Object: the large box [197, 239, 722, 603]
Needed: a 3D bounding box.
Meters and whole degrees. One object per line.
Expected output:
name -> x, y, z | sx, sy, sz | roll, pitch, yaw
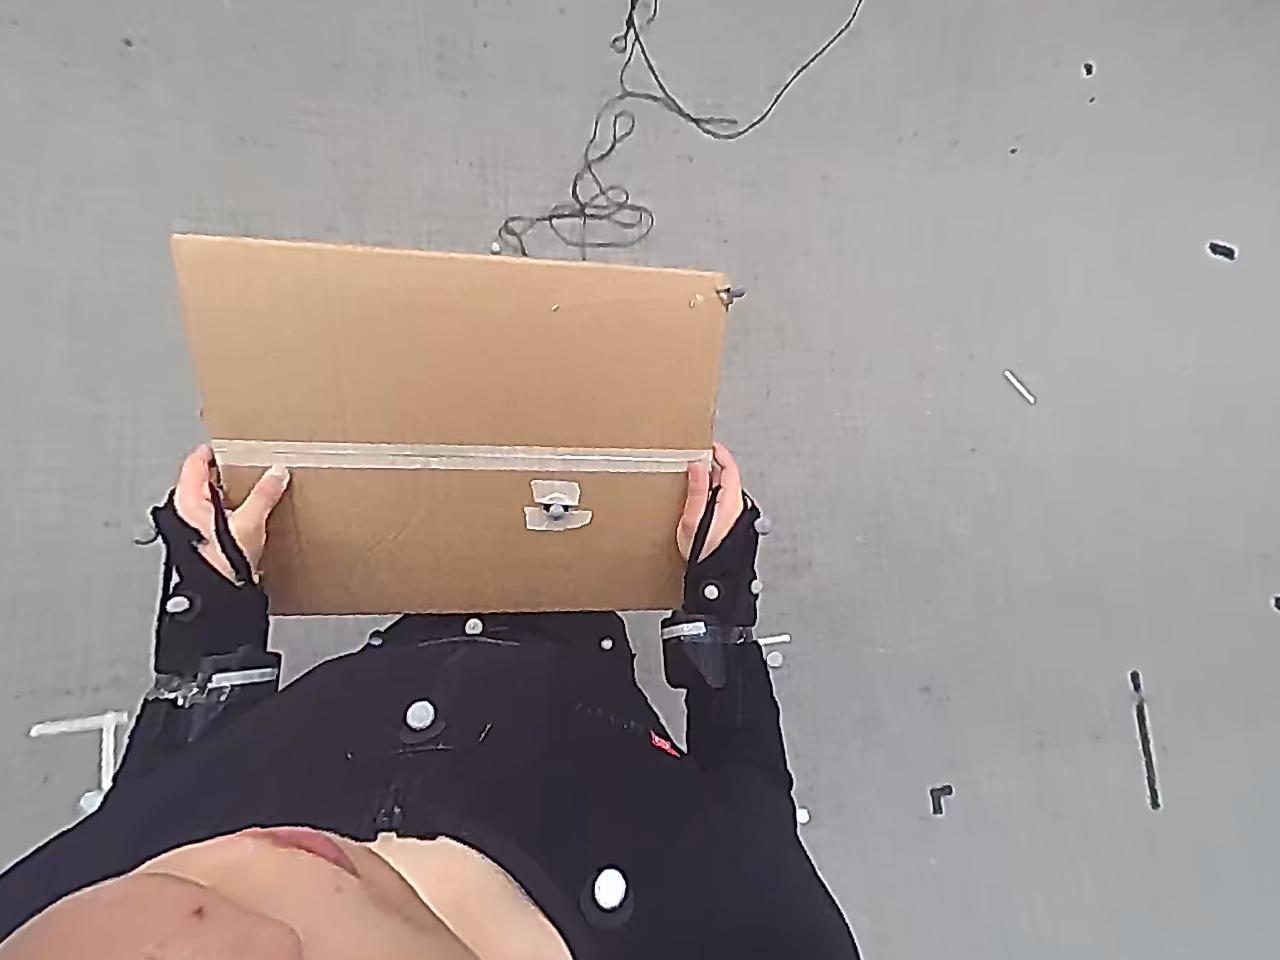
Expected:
large box -> -0.157, -0.085, 0.609 | 0.408, 0.320, 0.320 | 0, 112, -9
